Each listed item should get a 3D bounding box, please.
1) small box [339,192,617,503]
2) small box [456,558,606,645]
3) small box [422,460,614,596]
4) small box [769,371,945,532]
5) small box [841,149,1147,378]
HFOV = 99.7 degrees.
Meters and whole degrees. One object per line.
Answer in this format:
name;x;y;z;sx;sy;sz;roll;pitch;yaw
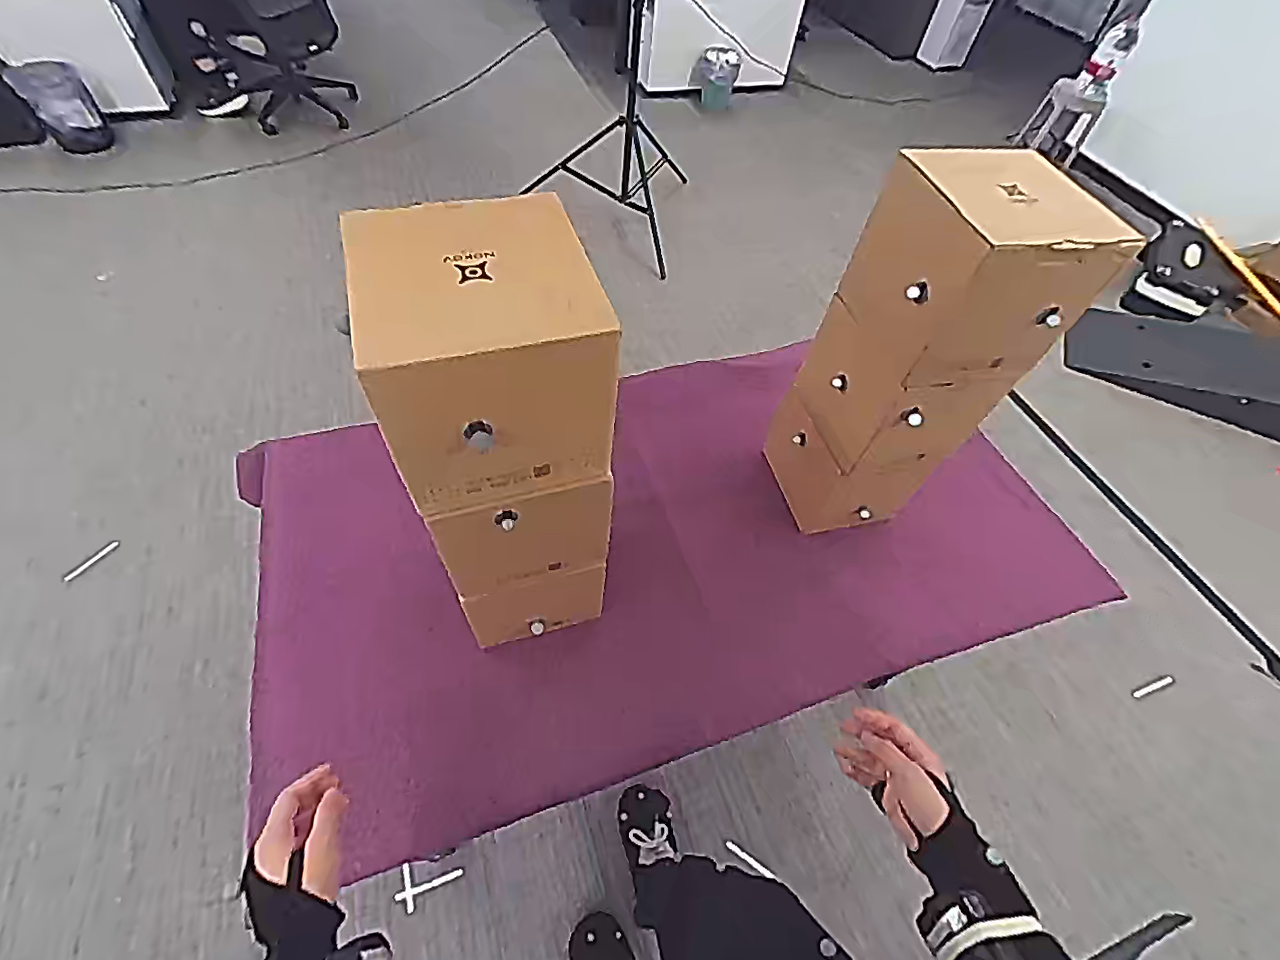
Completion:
small box;-0.122;-0.099;0.438;0.168;0.176;0.179;-14;58;-15
small box;-0.147;0.090;0.704;0.168;0.176;0.179;-12;58;-14
small box;-0.132;-0.005;0.571;0.168;0.176;0.179;-13;57;-14
small box;0.321;-0.043;0.846;0.168;0.176;0.179;-9;57;-11
small box;0.347;-0.223;0.574;0.168;0.176;0.179;-7;55;-11
